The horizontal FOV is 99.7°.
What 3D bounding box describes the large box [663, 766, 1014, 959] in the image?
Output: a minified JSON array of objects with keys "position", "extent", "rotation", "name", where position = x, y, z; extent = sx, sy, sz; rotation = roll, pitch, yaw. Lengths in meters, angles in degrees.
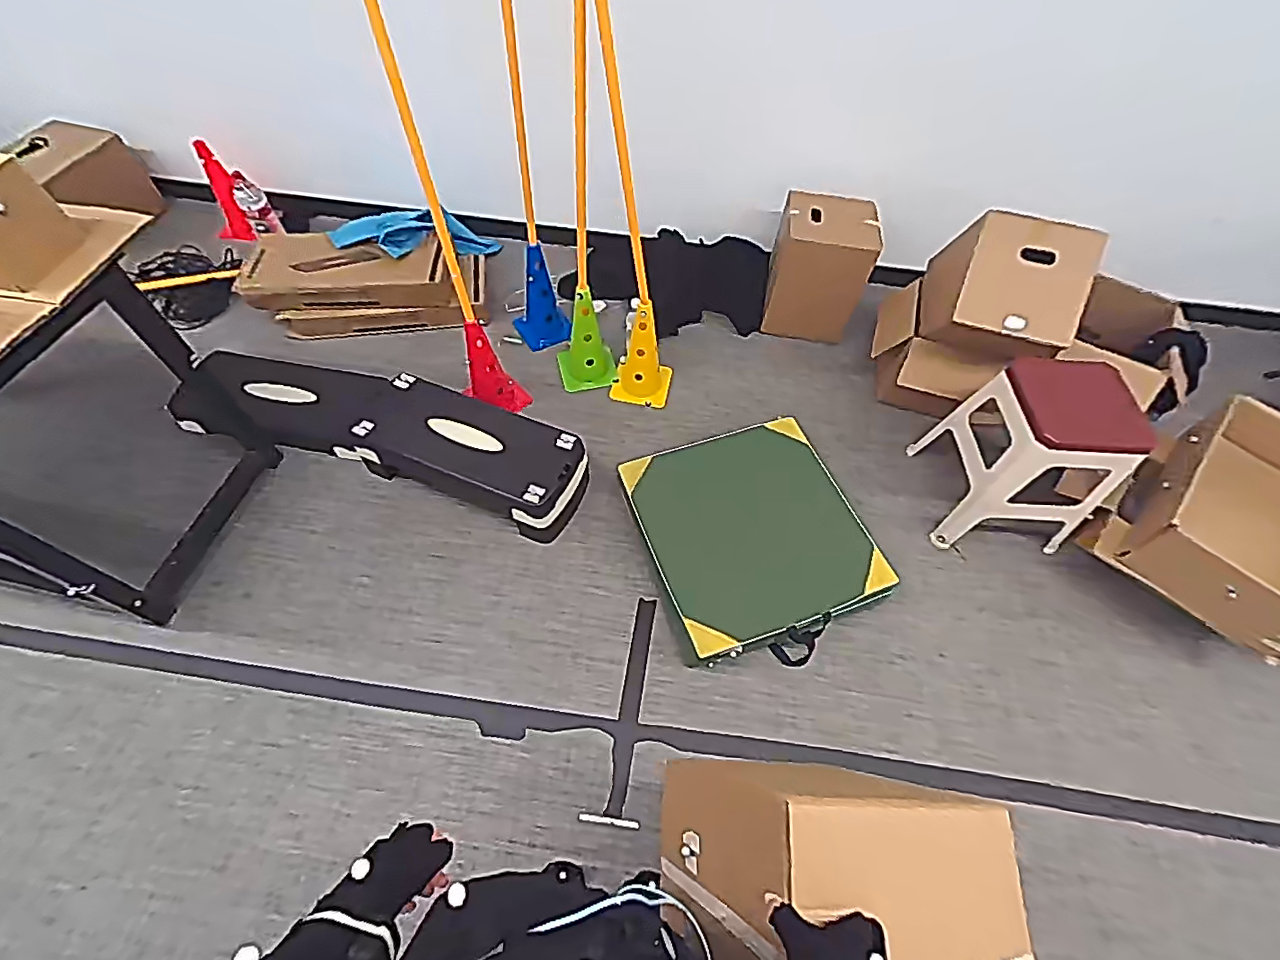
[{"position":[0.244,0.603,0.764],"extent":[0.320,0.408,0.320],"rotation":[10,67,-12],"name":"large box"}]
